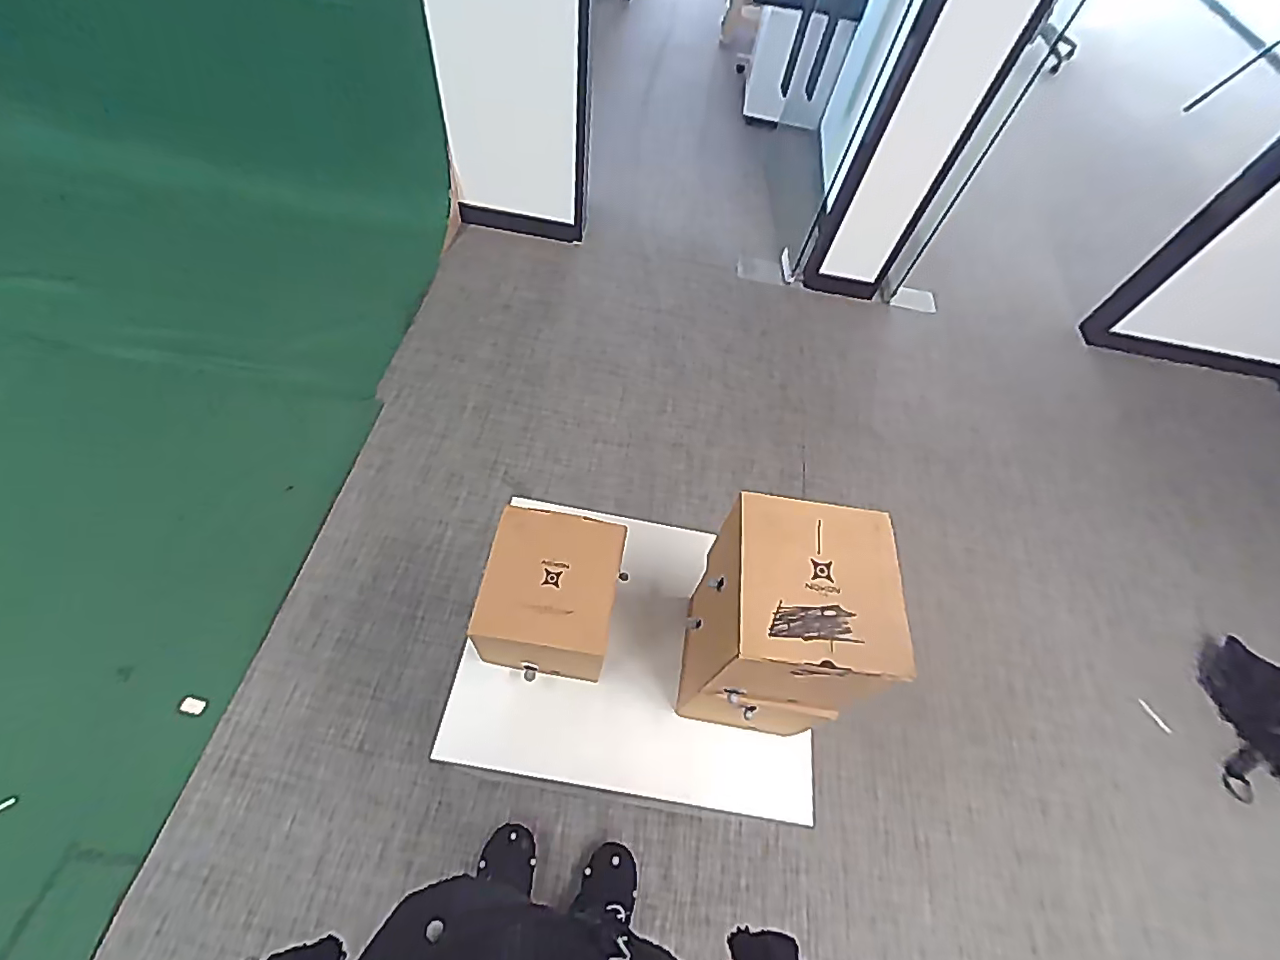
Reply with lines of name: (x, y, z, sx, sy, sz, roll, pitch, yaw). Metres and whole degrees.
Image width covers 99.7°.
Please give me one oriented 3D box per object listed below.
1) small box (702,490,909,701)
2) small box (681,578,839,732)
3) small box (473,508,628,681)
small box: (0.166, 0.135, 0.599, 0.168, 0.176, 0.179, 8, 58, -2)
small box: (0.154, 0.227, 0.736, 0.168, 0.176, 0.179, 10, 58, 0)
small box: (-0.115, 0.162, 0.744, 0.168, 0.176, 0.179, 9, 60, -1)
